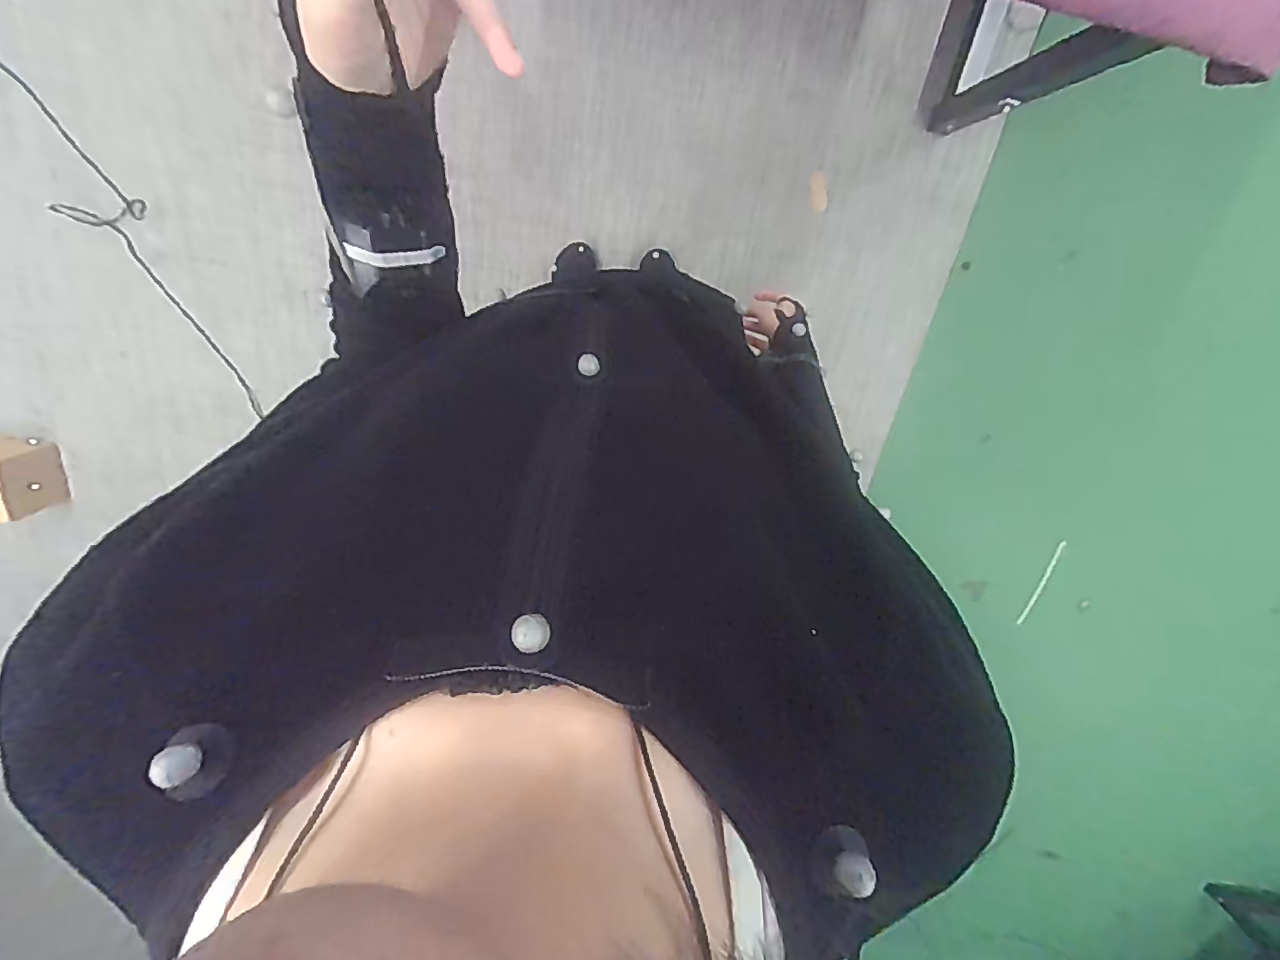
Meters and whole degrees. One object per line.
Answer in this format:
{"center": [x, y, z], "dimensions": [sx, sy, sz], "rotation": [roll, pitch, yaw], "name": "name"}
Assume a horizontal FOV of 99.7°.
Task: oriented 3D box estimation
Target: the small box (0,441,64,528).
{"center": [-1.720, 0.004, 1.446], "dimensions": [0.168, 0.176, 0.179], "rotation": [9, 113, -4], "name": "small box"}
